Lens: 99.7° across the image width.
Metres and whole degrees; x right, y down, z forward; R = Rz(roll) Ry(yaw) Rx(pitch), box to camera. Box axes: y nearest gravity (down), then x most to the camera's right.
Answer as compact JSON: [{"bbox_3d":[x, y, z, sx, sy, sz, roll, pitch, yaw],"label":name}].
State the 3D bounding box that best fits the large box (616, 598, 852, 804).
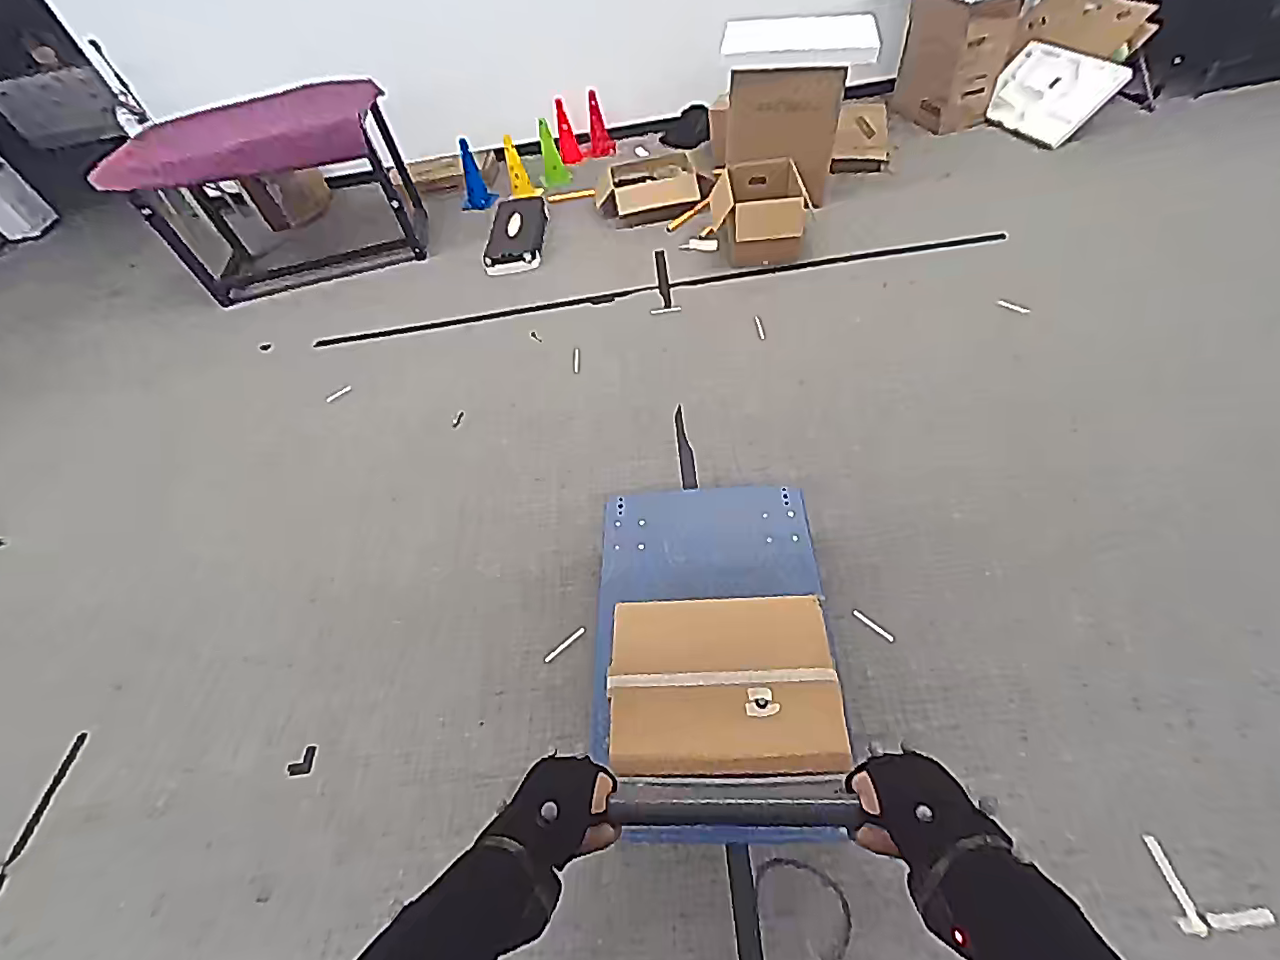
[{"bbox_3d":[0.167,0.462,1.112,0.408,0.320,0.320,-4,52,5],"label":"large box"}]
